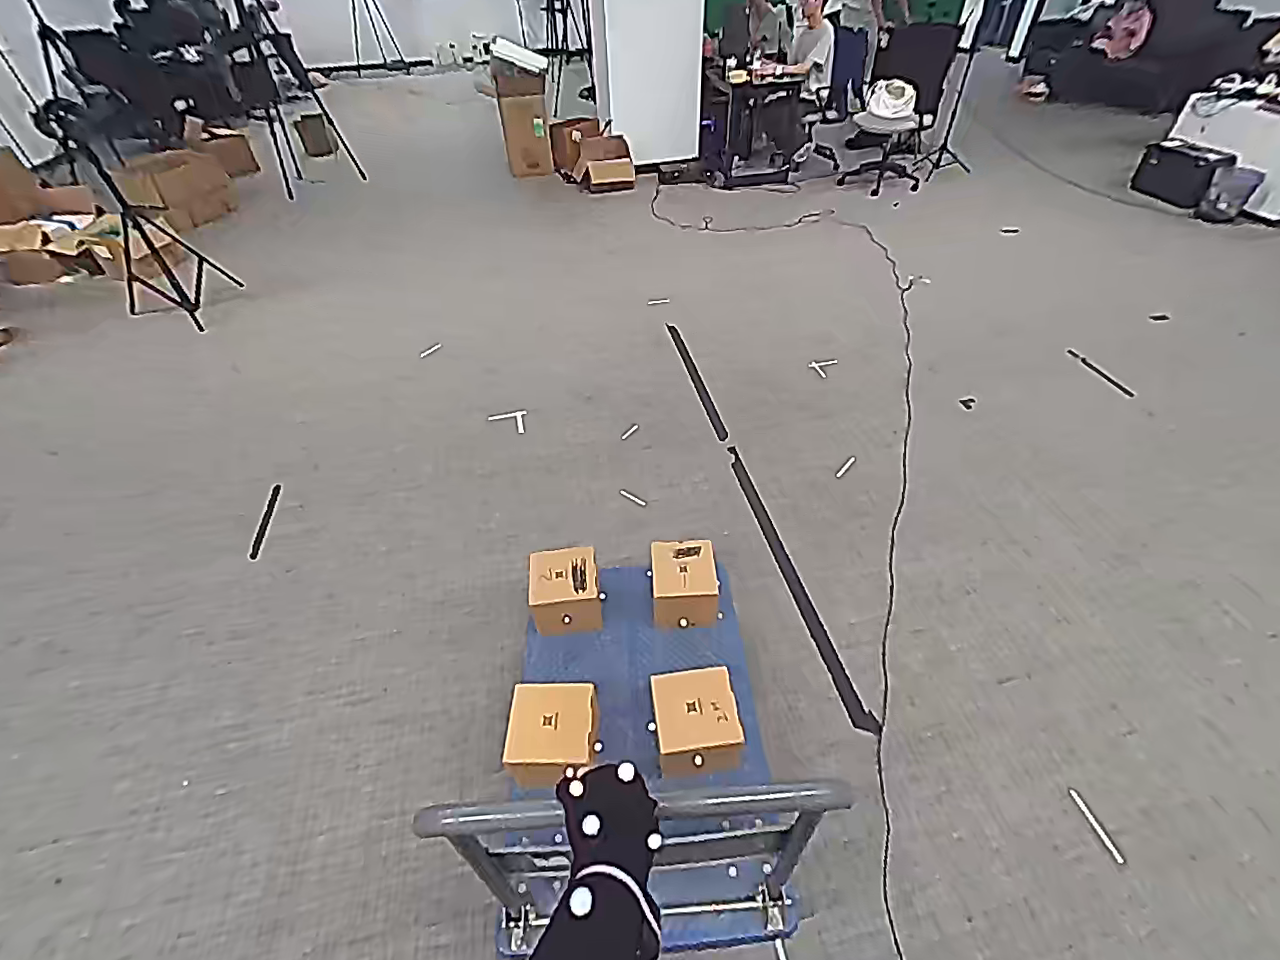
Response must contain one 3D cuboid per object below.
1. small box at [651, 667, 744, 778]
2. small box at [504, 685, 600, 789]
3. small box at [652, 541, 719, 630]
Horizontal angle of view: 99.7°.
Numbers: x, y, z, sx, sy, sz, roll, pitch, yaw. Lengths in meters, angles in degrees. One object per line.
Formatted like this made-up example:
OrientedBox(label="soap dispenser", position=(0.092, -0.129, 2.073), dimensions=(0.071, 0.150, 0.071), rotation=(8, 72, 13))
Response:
OrientedBox(label="small box", position=(0.123, 0.542, 1.204), dimensions=(0.179, 0.176, 0.168), rotation=(-7, 45, -3))
OrientedBox(label="small box", position=(-0.185, 0.570, 1.195), dimensions=(0.179, 0.176, 0.168), rotation=(-1, 44, 0))
OrientedBox(label="small box", position=(0.117, 0.285, 1.464), dimensions=(0.168, 0.176, 0.179), rotation=(-3, 46, 0))
